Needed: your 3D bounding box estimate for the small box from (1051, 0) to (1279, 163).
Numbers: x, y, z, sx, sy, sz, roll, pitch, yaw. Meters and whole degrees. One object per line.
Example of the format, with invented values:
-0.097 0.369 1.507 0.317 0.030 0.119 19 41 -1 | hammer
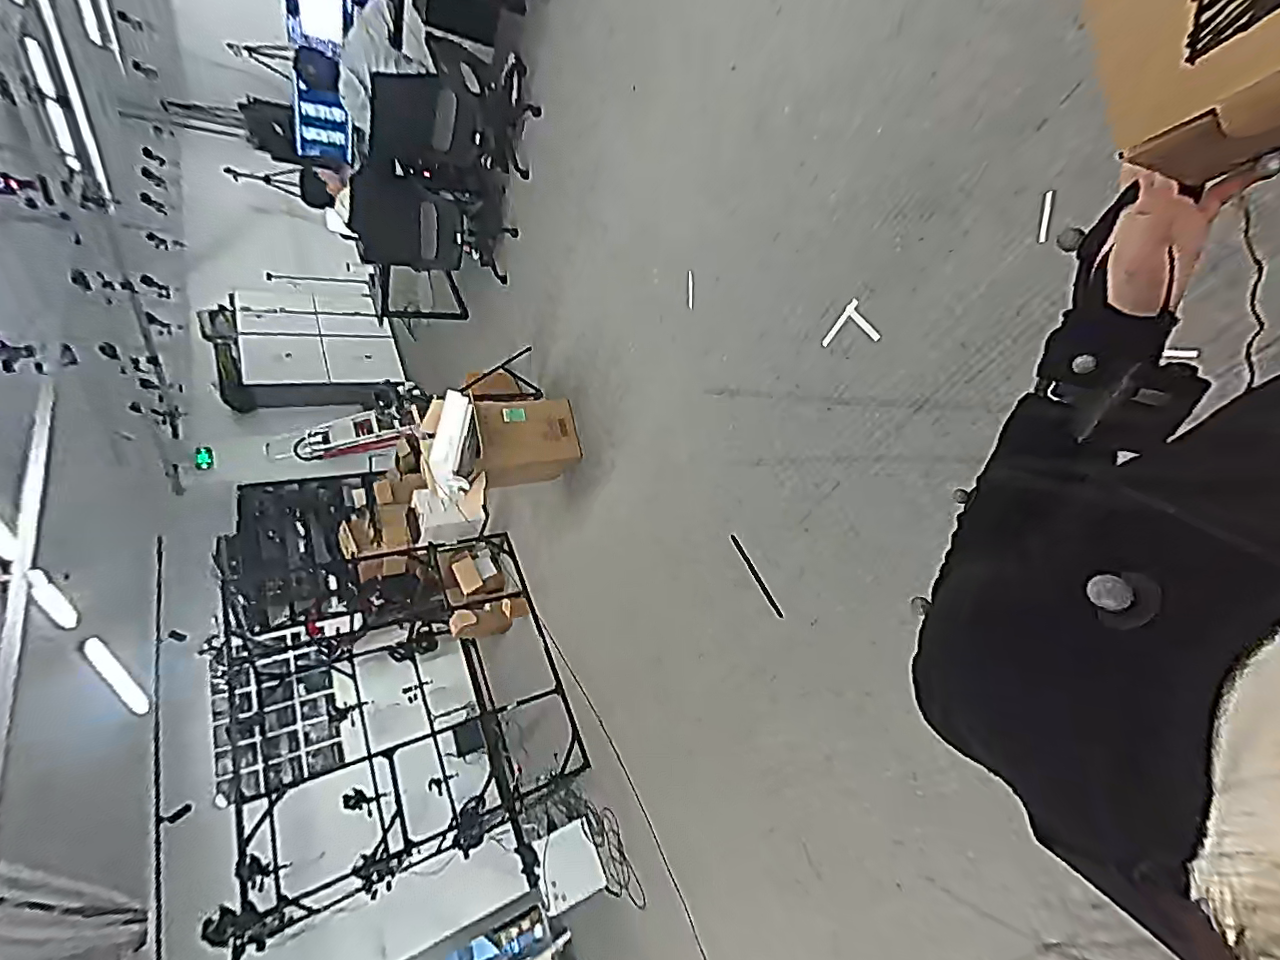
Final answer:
0.289 -0.257 0.219 0.168 0.176 0.179 -13 92 55 | small box
